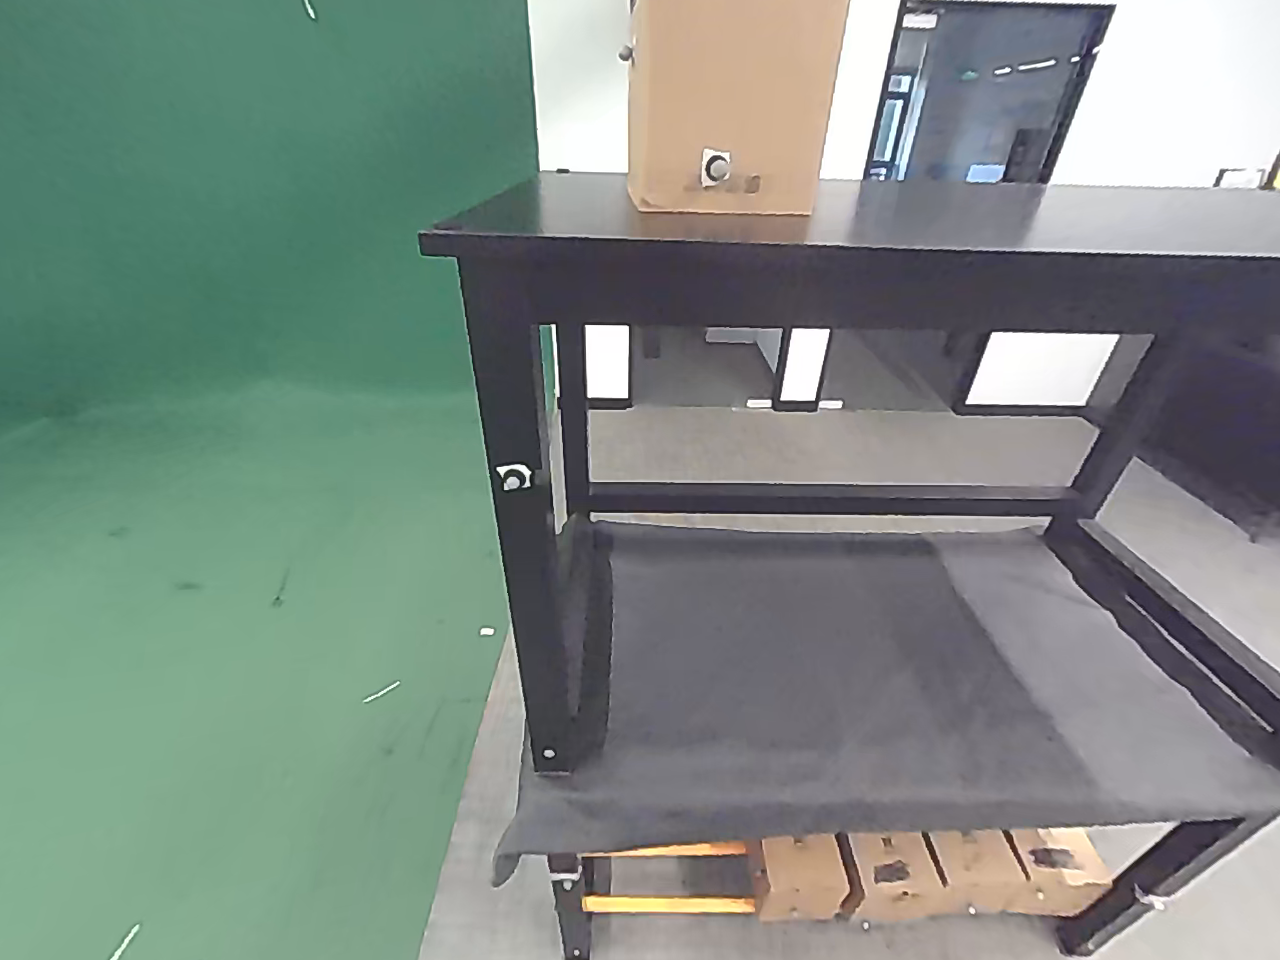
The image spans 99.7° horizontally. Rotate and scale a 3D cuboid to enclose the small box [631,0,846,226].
[{"bbox_3d":[0.077,-0.360,0.540,0.168,0.176,0.179,-2,34,-4],"label":"small box"}]
